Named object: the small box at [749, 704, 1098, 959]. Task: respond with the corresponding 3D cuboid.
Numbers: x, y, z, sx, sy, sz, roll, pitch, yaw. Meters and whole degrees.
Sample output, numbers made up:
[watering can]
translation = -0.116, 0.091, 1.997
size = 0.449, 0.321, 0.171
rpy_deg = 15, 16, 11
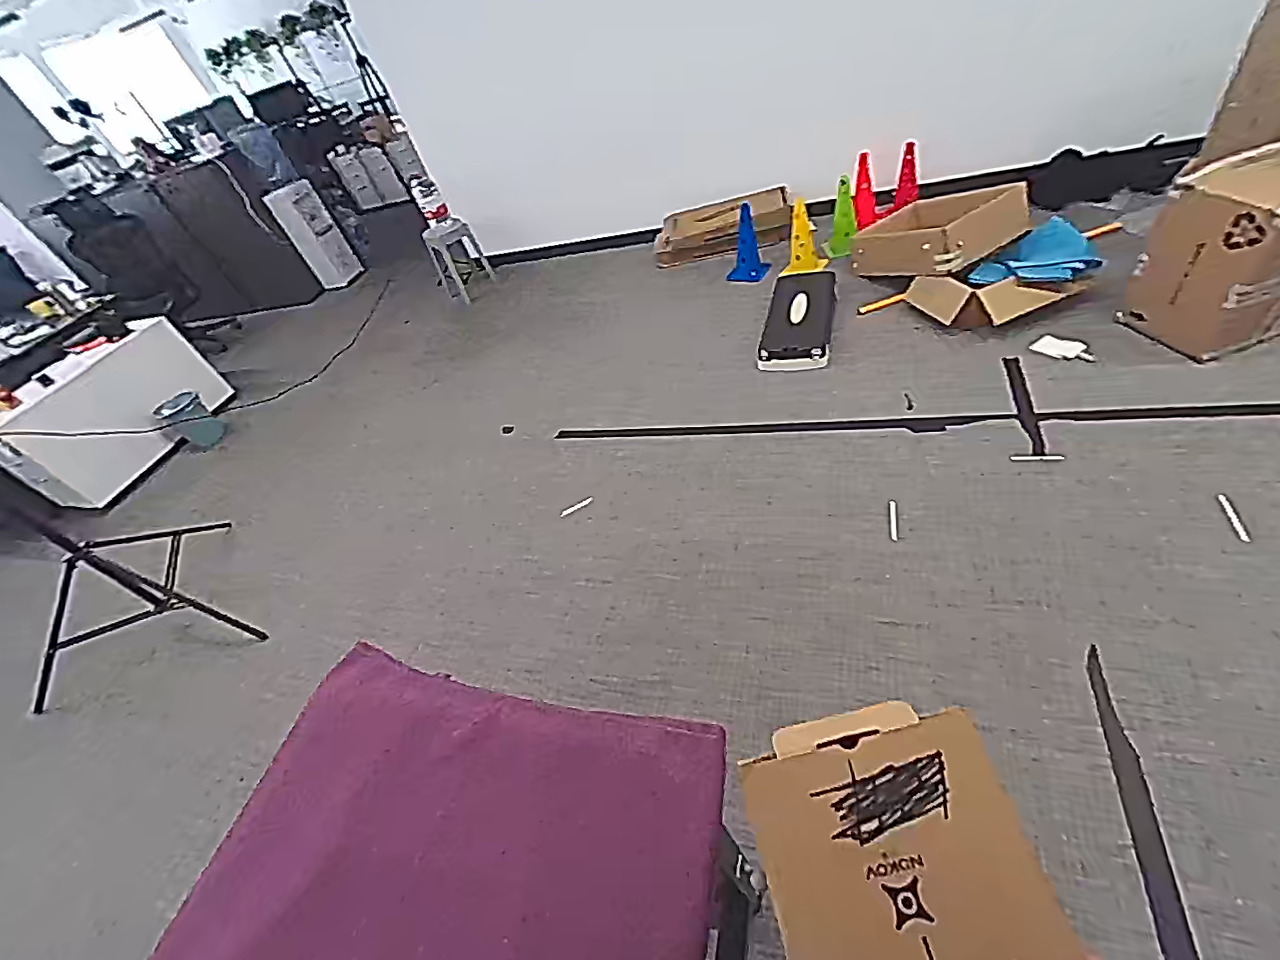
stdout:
[small box]
translation = 0.186, 0.286, 0.405
size = 0.168, 0.176, 0.179
rpy_deg = -17, 60, 5
